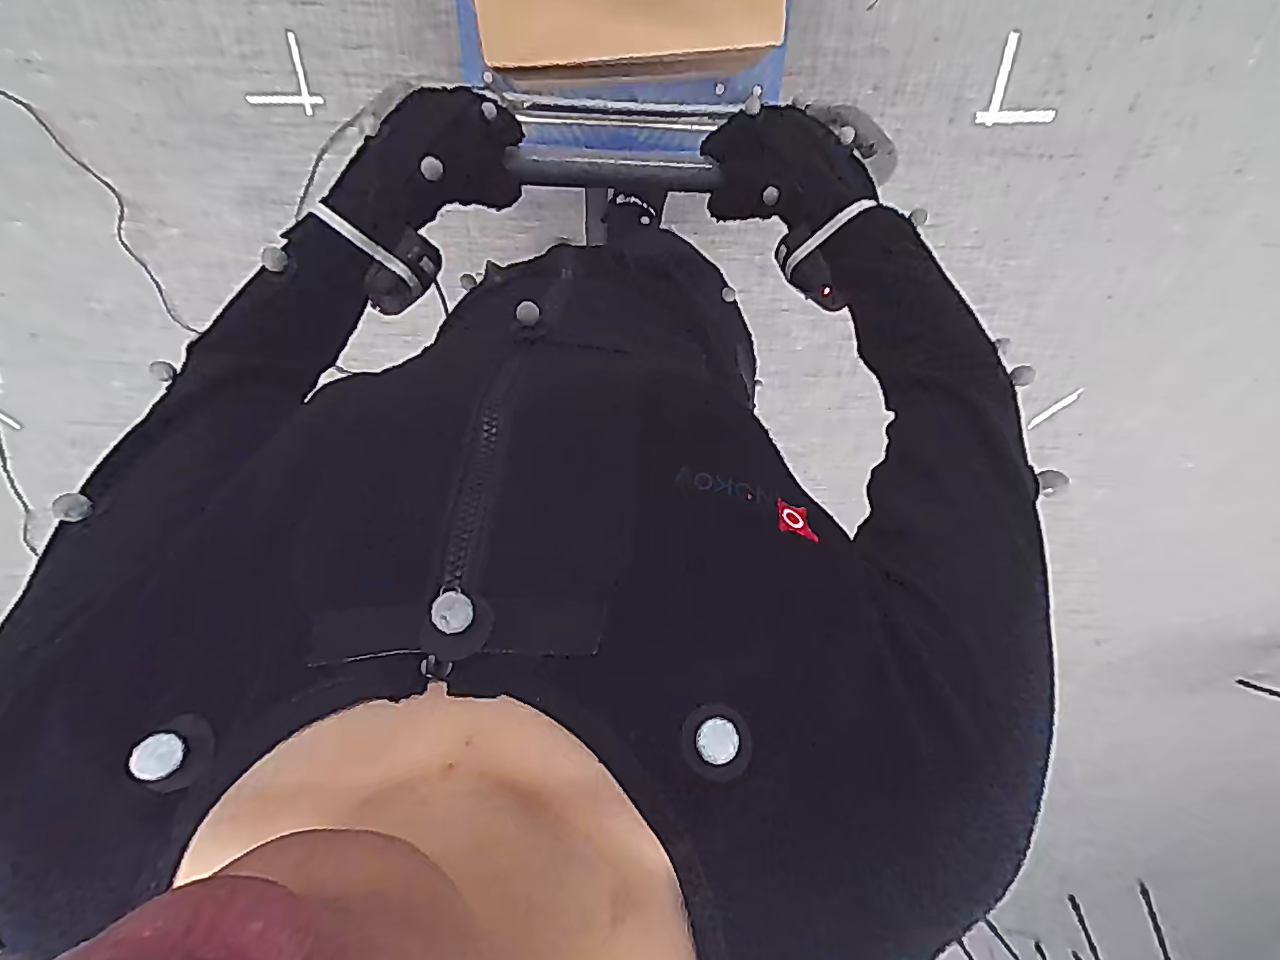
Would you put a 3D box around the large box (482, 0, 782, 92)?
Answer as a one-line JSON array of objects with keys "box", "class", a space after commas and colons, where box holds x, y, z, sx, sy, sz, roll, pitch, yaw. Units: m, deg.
[{"box": [-0.027, -0.792, 0.791, 0.408, 0.320, 0.320, -5, 121, -1], "class": "large box"}]
